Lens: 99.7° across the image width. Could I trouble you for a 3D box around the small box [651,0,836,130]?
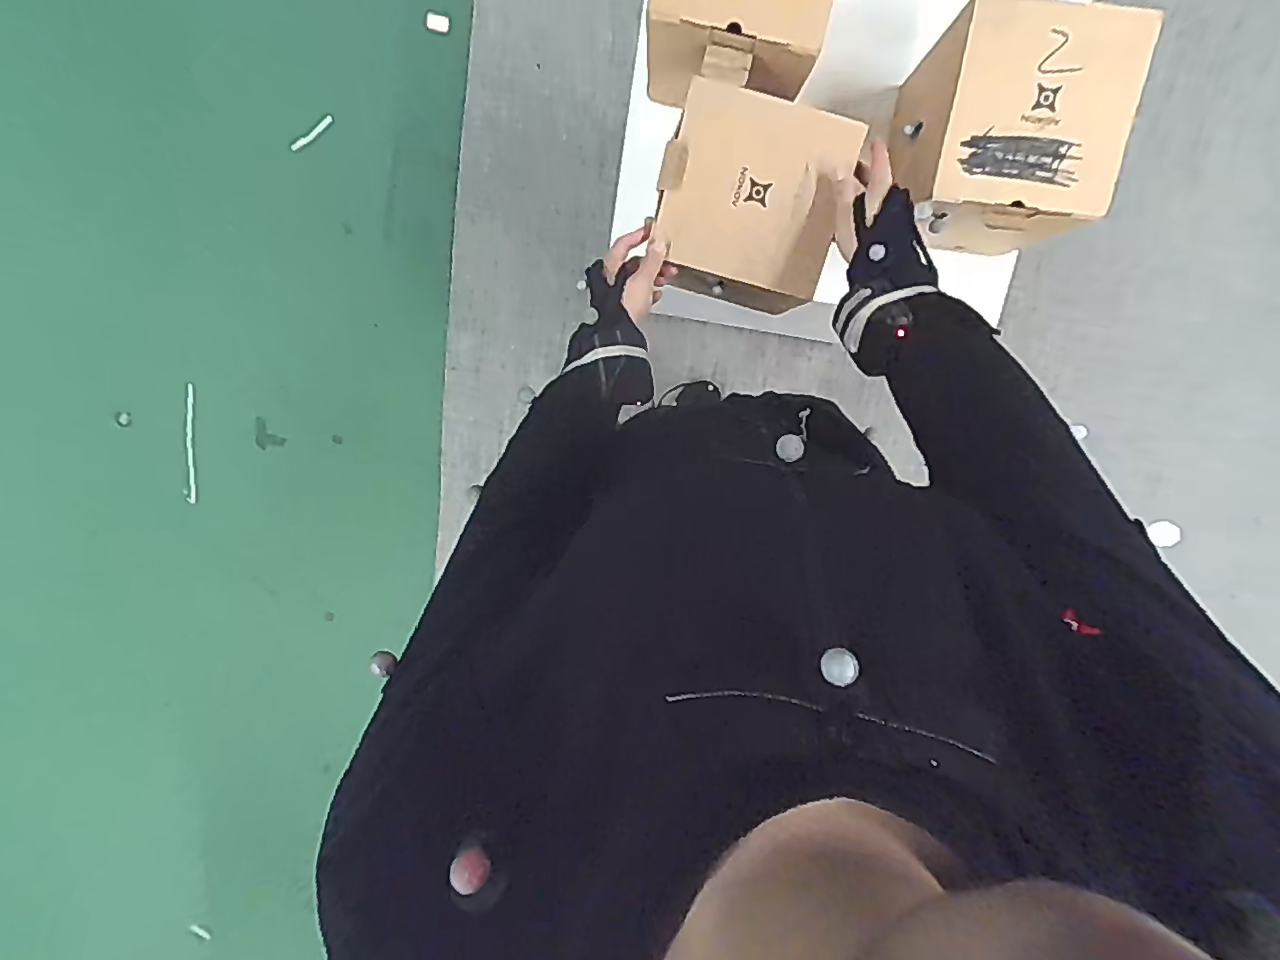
[{"bbox_3d":[0.107,-0.503,0.556,0.168,0.176,0.179,12,103,-1],"label":"small box"}]
